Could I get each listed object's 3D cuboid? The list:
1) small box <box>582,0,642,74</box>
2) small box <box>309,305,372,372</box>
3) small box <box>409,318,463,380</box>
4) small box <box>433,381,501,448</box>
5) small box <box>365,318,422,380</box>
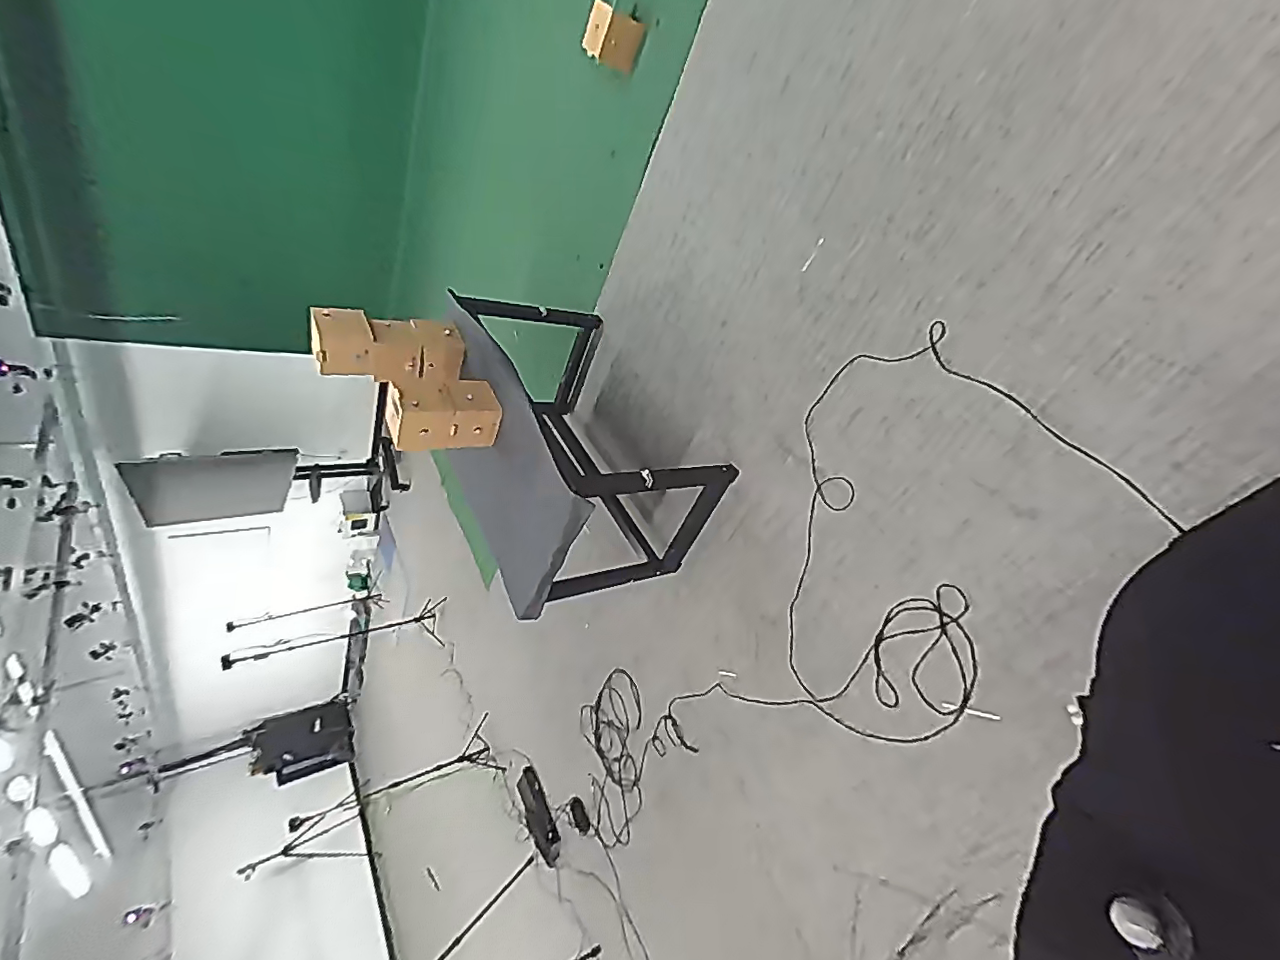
[{"bbox_3d":[-0.114,-1.873,2.288,0.168,0.176,0.179,57,134,30],"label":"small box"},{"bbox_3d":[-1.062,-0.495,1.915,0.179,0.176,0.168,56,137,31],"label":"small box"},{"bbox_3d":[-0.810,-0.510,2.124,0.168,0.176,0.179,58,136,29],"label":"small box"},{"bbox_3d":[-0.608,-0.236,1.905,0.179,0.176,0.168,55,134,31],"label":"small box"},{"bbox_3d":[-0.933,-0.487,2.020,0.179,0.176,0.168,50,134,34],"label":"small box"}]
